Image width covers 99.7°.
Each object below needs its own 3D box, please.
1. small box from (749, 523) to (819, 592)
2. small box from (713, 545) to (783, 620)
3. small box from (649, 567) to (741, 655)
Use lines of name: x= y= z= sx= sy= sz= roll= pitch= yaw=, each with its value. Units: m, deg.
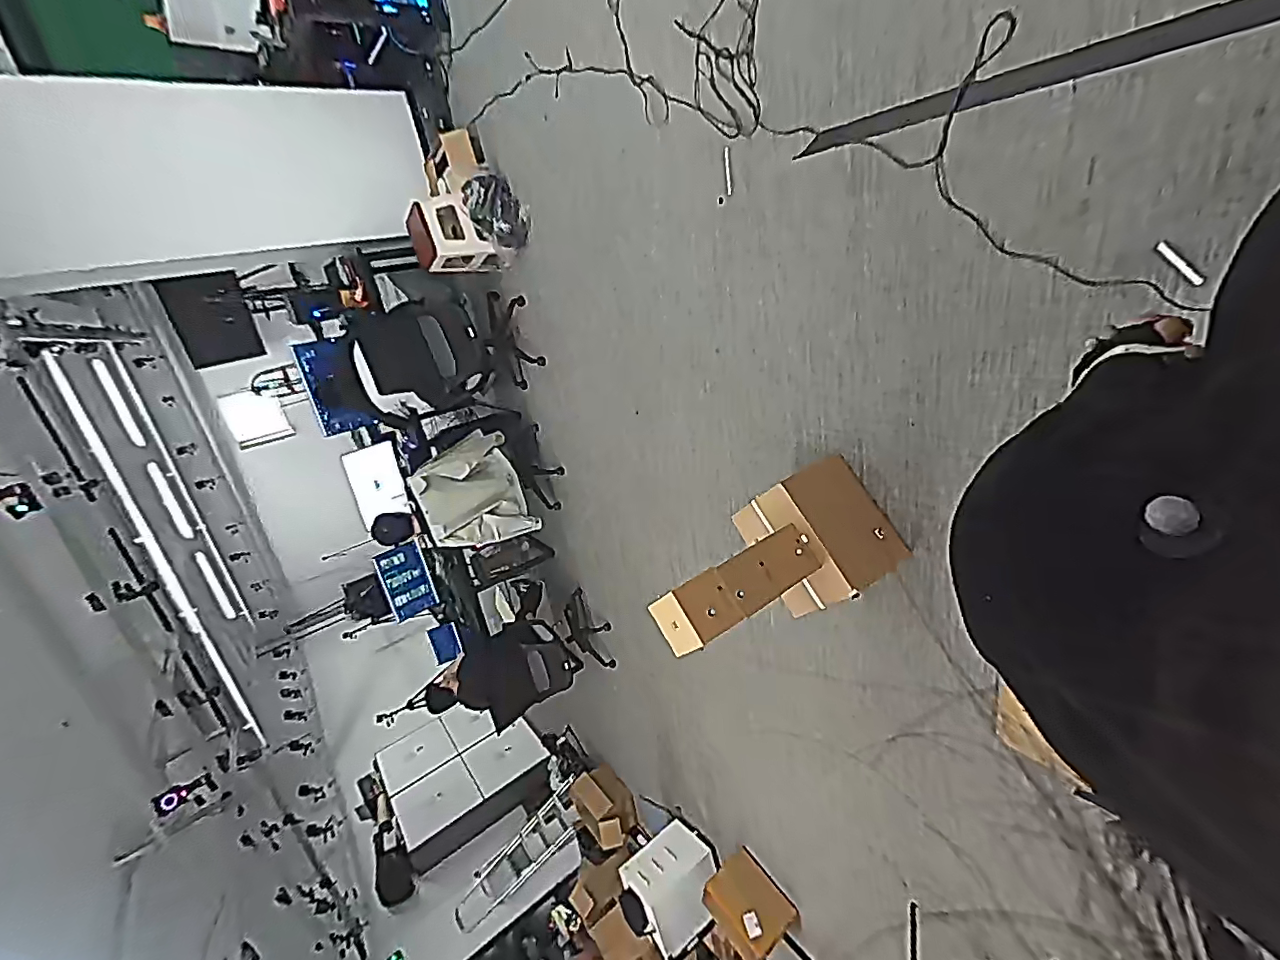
small box: x=0.422 y=0.261 z=1.694 sx=0.168 sy=0.176 sz=0.179 roll=59 pitch=148 yaw=14
small box: x=0.291 y=0.318 z=1.614 sx=0.168 sy=0.176 sz=0.179 roll=59 pitch=149 yaw=13
small box: x=0.161 y=0.369 z=1.529 sx=0.168 sy=0.176 sz=0.179 roll=58 pitch=149 yaw=14
